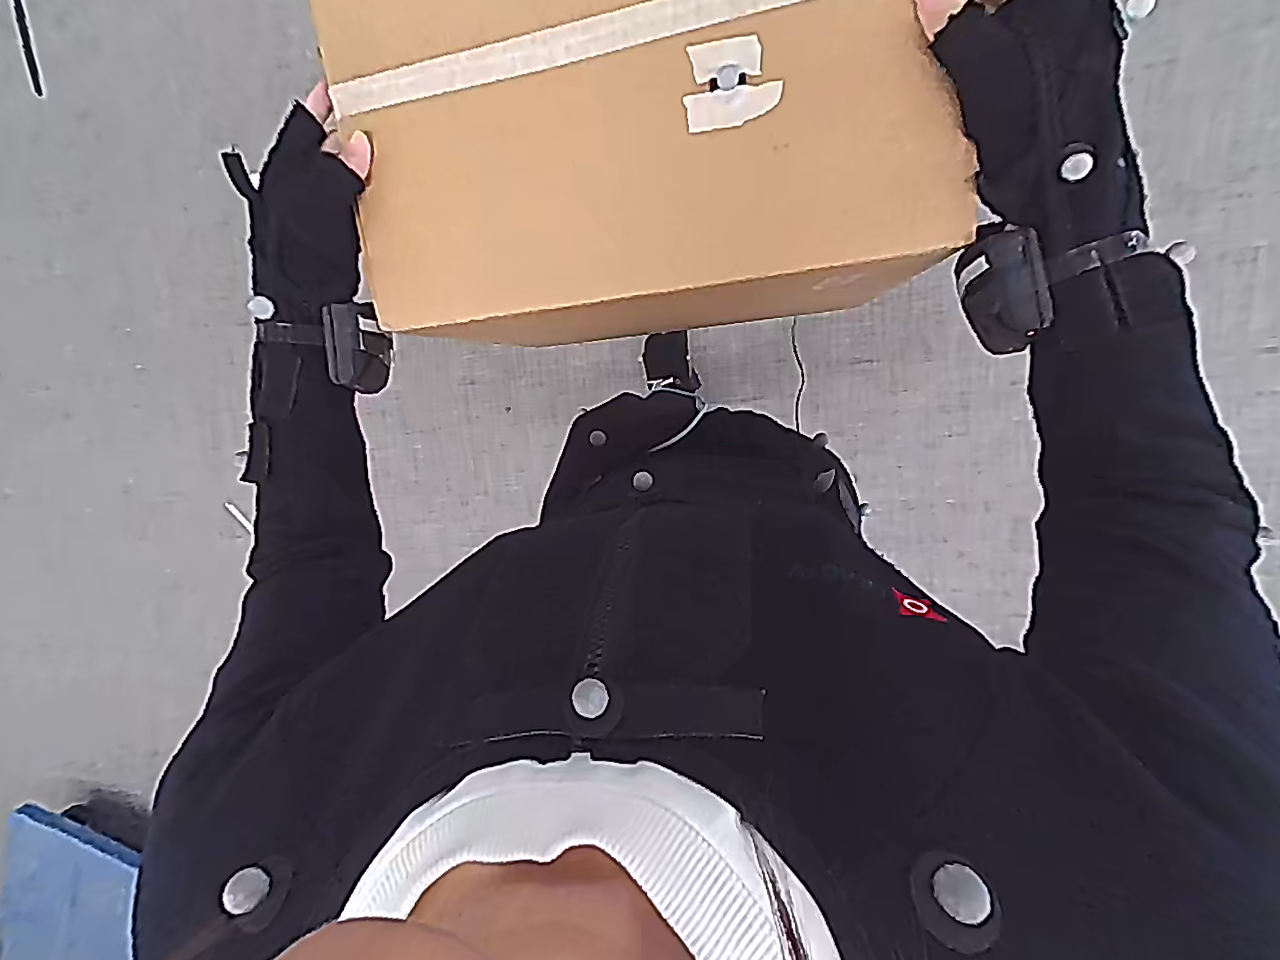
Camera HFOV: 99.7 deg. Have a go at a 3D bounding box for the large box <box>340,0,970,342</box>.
[{"bbox_3d":[0.016,-0.317,0.492,0.408,0.320,0.320,-5,101,11],"label":"large box"}]
